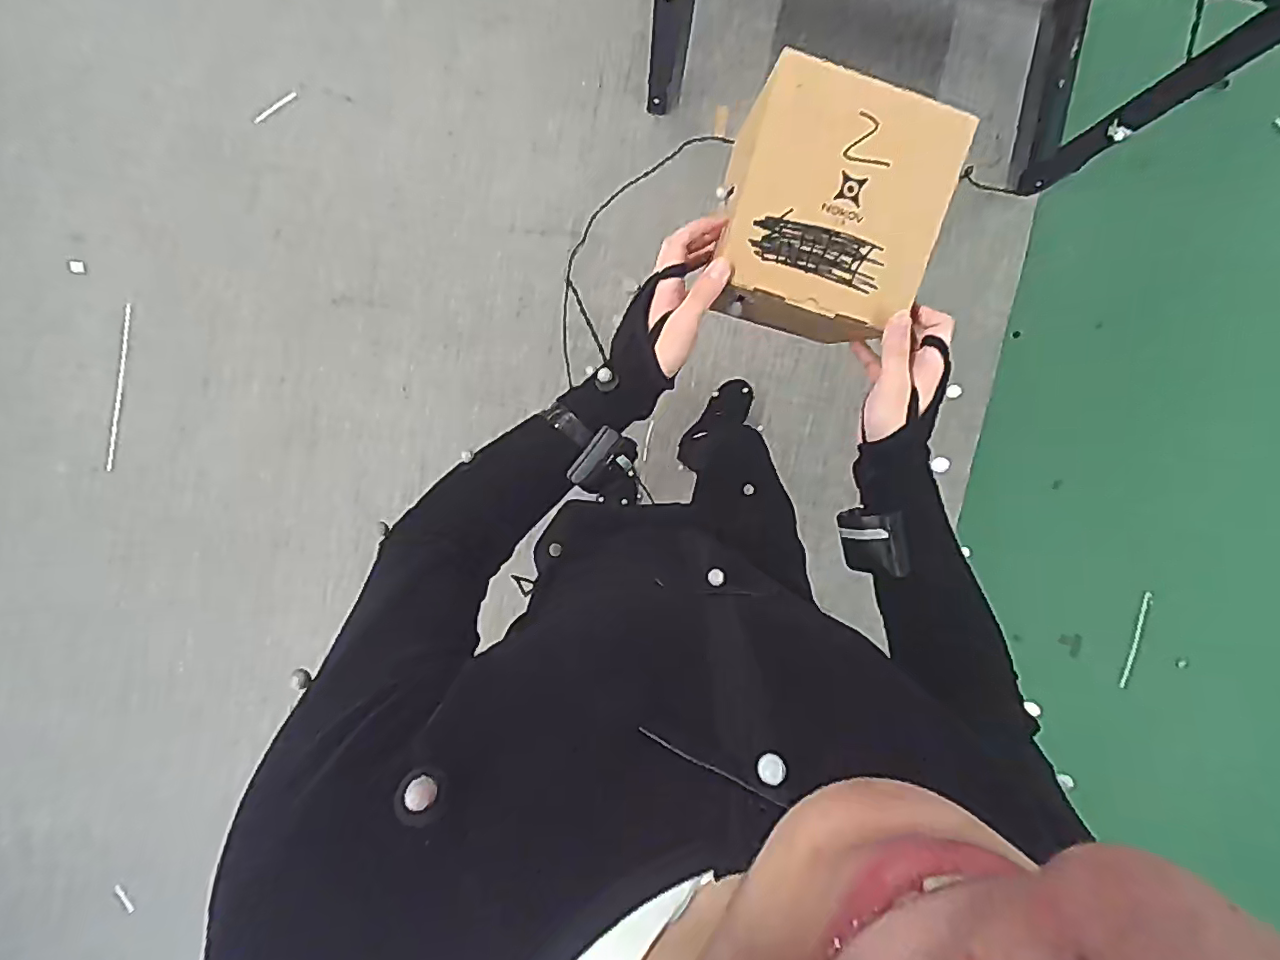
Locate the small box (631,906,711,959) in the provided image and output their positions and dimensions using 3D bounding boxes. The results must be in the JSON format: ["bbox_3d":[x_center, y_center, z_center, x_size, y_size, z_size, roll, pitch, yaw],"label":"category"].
[{"bbox_3d":[0.075,1.252,1.397,0.179,0.176,0.168,12,94,-2],"label":"small box"}]

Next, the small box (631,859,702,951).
[{"bbox_3d":[0.071,1.246,1.561,0.168,0.176,0.179,13,94,-2],"label":"small box"}]
